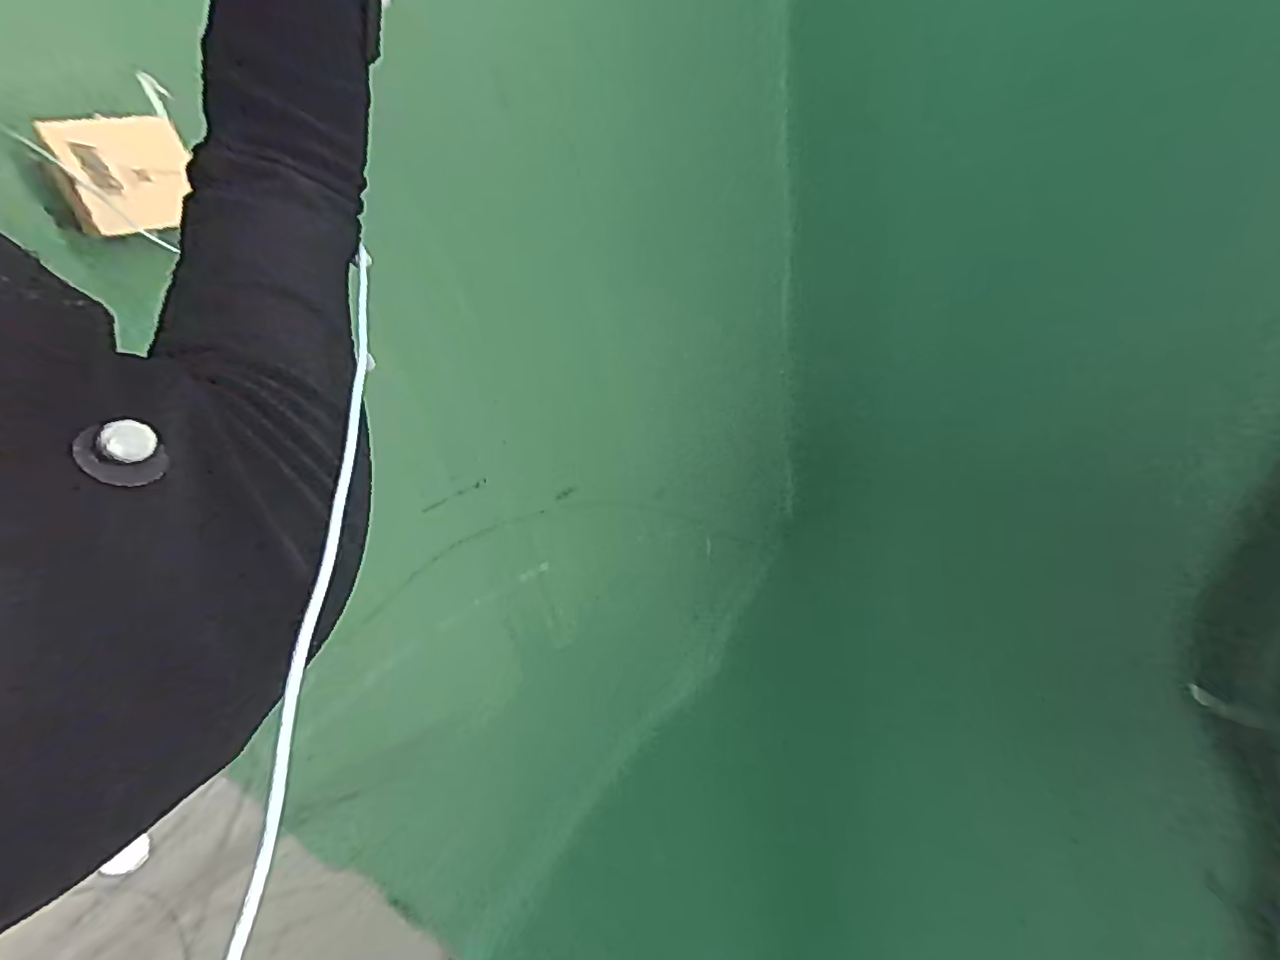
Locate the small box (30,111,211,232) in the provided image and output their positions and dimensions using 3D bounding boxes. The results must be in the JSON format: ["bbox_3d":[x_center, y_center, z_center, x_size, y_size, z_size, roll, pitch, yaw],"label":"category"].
[{"bbox_3d":[-0.927,-0.549,0.969,0.179,0.176,0.168,-36,131,-38],"label":"small box"}]
